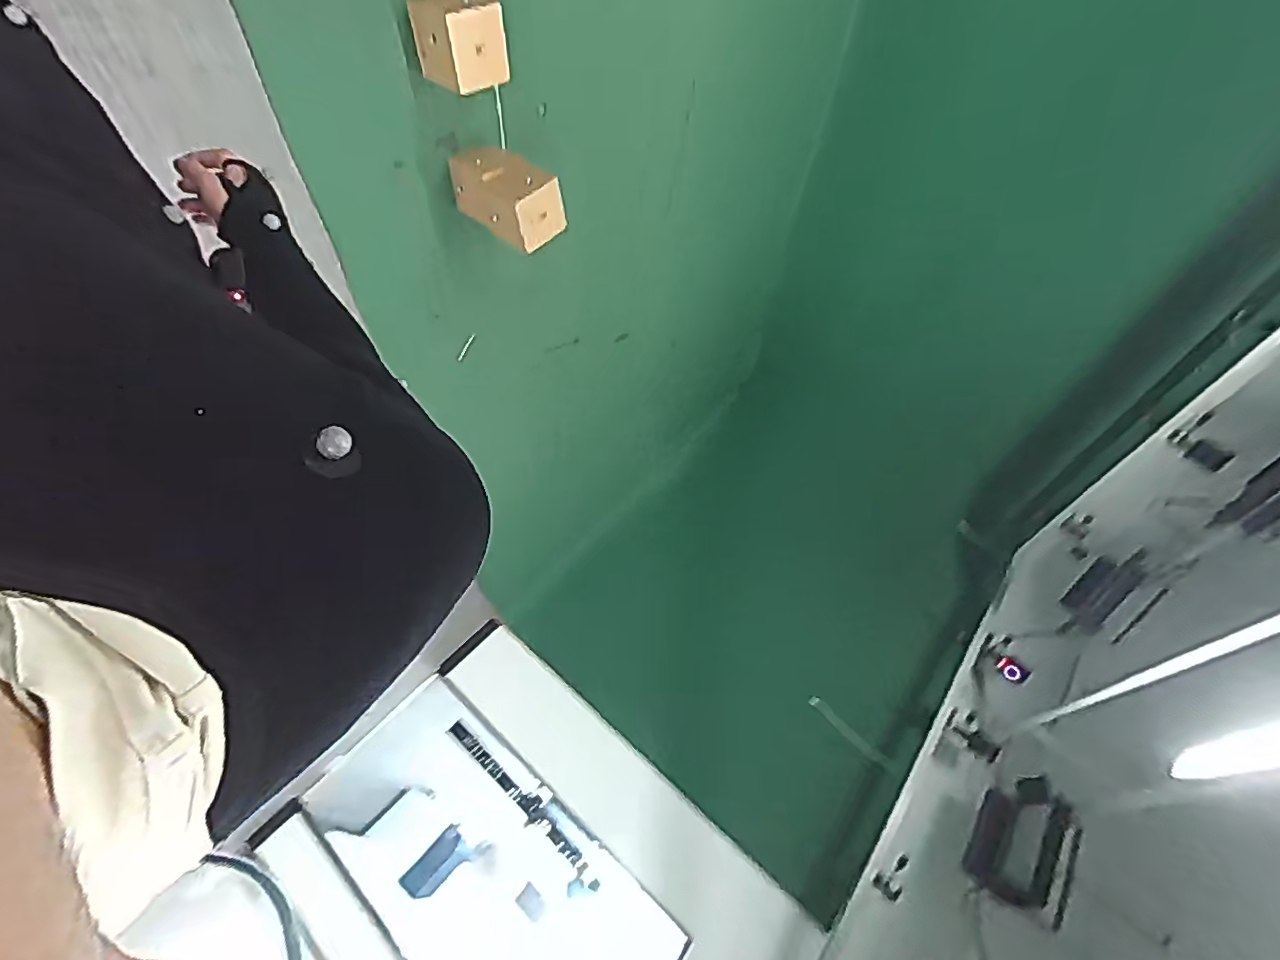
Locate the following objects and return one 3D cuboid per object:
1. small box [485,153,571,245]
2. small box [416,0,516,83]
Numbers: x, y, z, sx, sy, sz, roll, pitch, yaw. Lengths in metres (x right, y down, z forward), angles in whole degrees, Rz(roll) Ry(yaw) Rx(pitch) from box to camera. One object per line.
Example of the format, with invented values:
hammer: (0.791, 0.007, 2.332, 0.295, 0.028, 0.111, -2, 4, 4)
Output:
small box: (-0.339, -0.864, 1.656, 0.179, 0.176, 0.168, -45, 156, -20)
small box: (-0.456, -1.173, 1.410, 0.179, 0.176, 0.168, -42, 155, -28)
